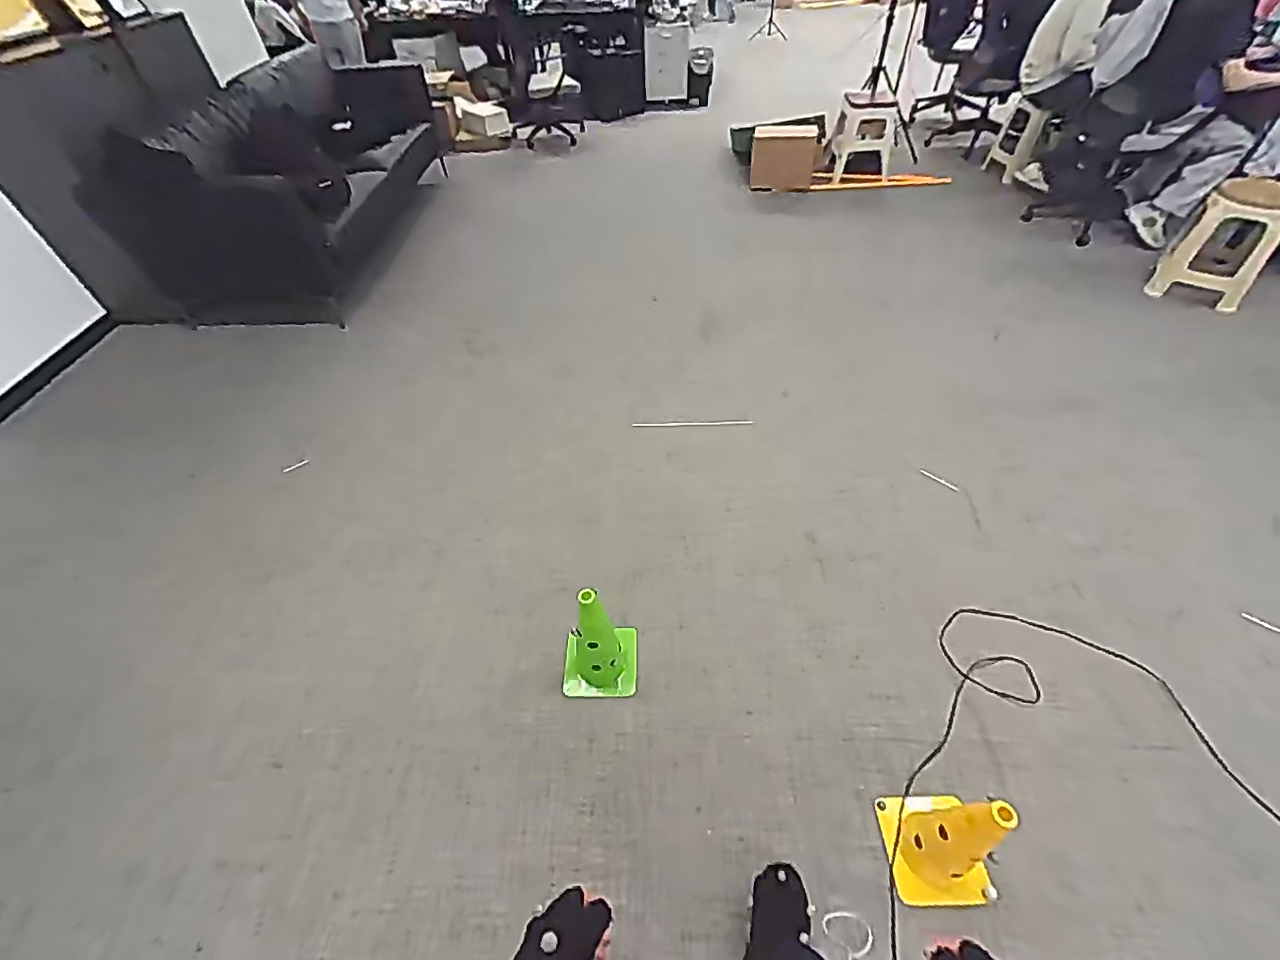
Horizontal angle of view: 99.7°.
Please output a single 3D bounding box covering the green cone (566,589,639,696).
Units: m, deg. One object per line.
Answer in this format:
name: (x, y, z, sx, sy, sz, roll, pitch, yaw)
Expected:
green cone: (-0.108, 0.394, 1.391, 0.202, 0.368, 0.200, -1, 48, 2)
